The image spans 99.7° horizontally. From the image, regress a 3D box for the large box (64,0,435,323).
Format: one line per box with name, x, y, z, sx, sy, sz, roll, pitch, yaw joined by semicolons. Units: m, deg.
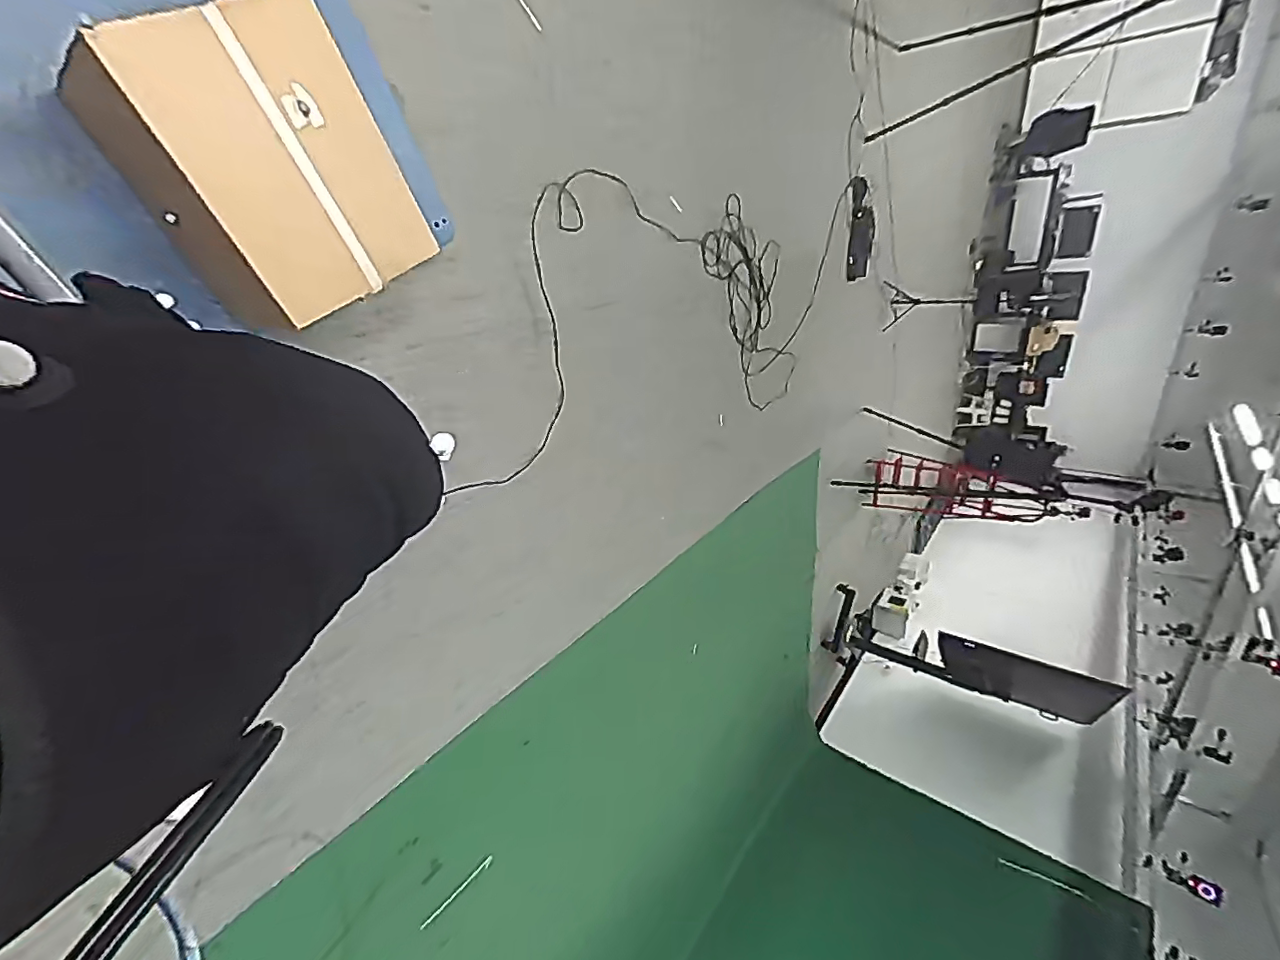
large box;-0.653;-0.530;0.947;0.320;0.320;0.408;-47;133;-31
